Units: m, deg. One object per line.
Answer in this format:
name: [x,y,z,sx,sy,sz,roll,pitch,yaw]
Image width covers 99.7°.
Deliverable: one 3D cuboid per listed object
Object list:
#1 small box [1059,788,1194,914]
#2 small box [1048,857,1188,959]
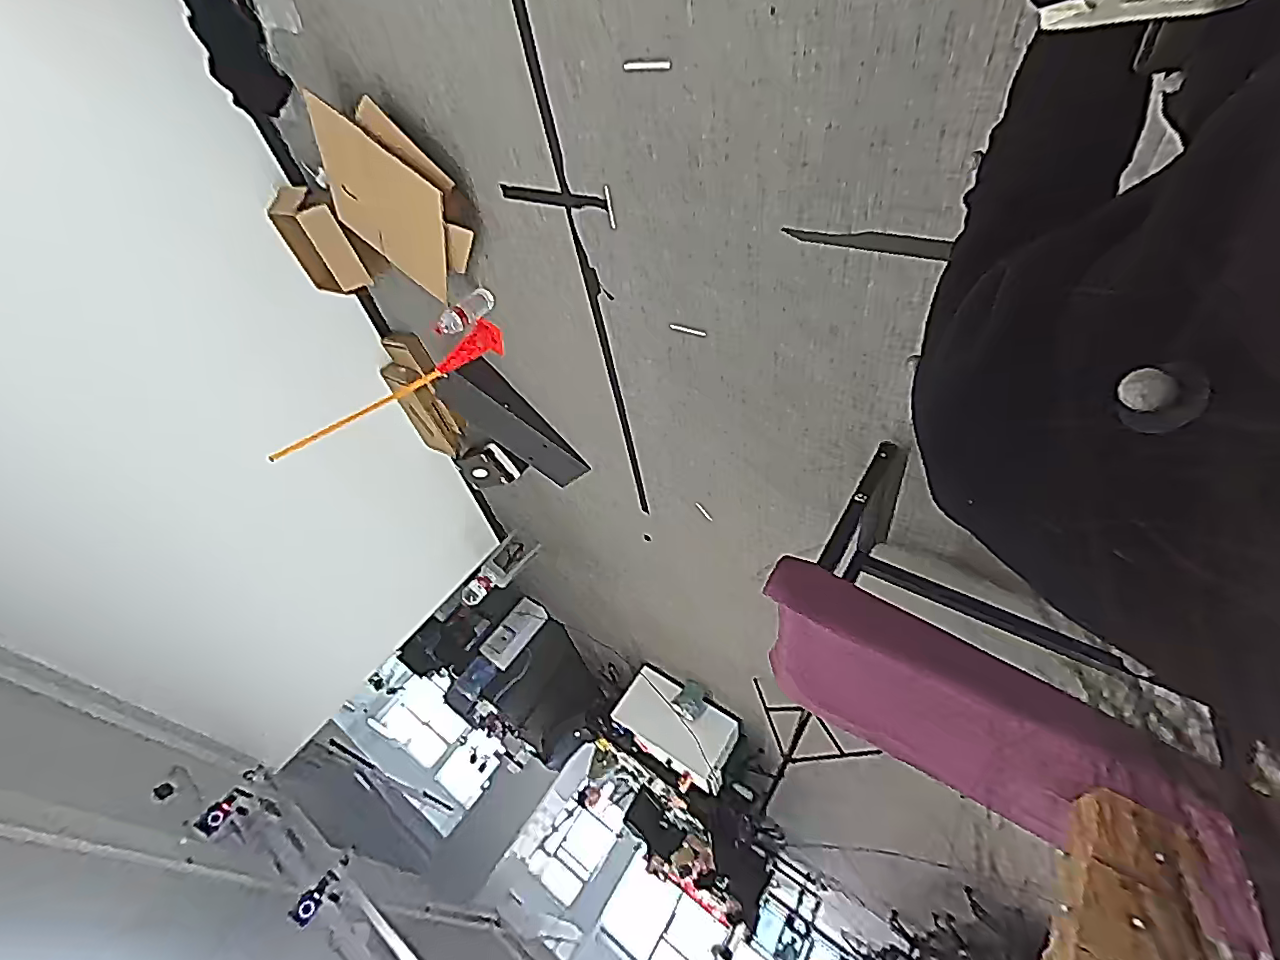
small box: [1.055,0.807,1.177,0.168,0.176,0.179,22,146,30]
small box: [0.955,0.900,1.084,0.168,0.176,0.179,19,144,33]
